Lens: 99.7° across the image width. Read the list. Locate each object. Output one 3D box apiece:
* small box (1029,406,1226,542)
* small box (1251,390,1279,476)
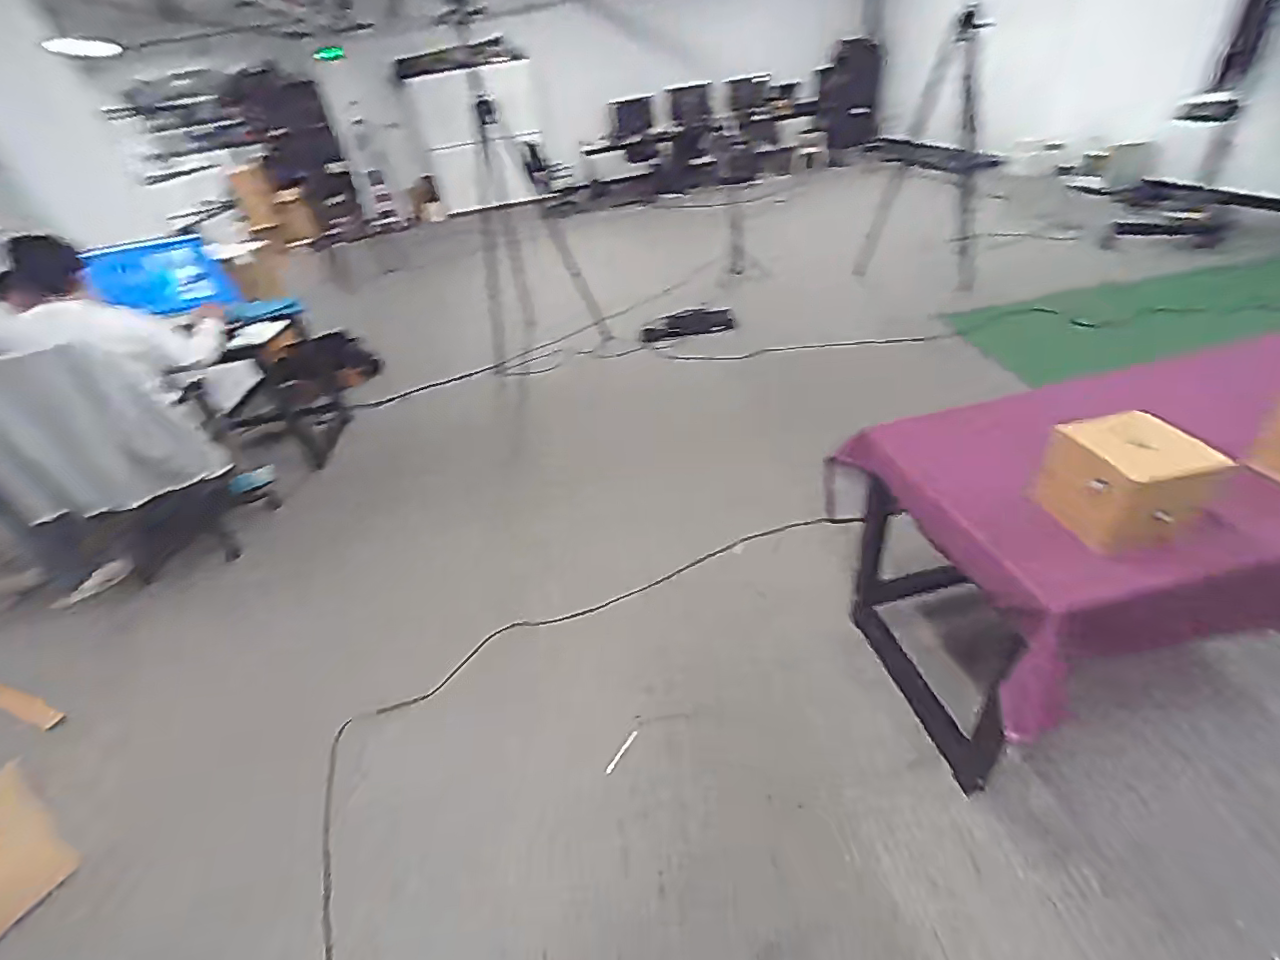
[{"bbox_3d":[0.852,-0.006,0.969,0.168,0.176,0.179,-11,37,-2],"label":"small box"},{"bbox_3d":[1.273,-0.079,0.965,0.179,0.176,0.168,-12,37,-3],"label":"small box"}]
